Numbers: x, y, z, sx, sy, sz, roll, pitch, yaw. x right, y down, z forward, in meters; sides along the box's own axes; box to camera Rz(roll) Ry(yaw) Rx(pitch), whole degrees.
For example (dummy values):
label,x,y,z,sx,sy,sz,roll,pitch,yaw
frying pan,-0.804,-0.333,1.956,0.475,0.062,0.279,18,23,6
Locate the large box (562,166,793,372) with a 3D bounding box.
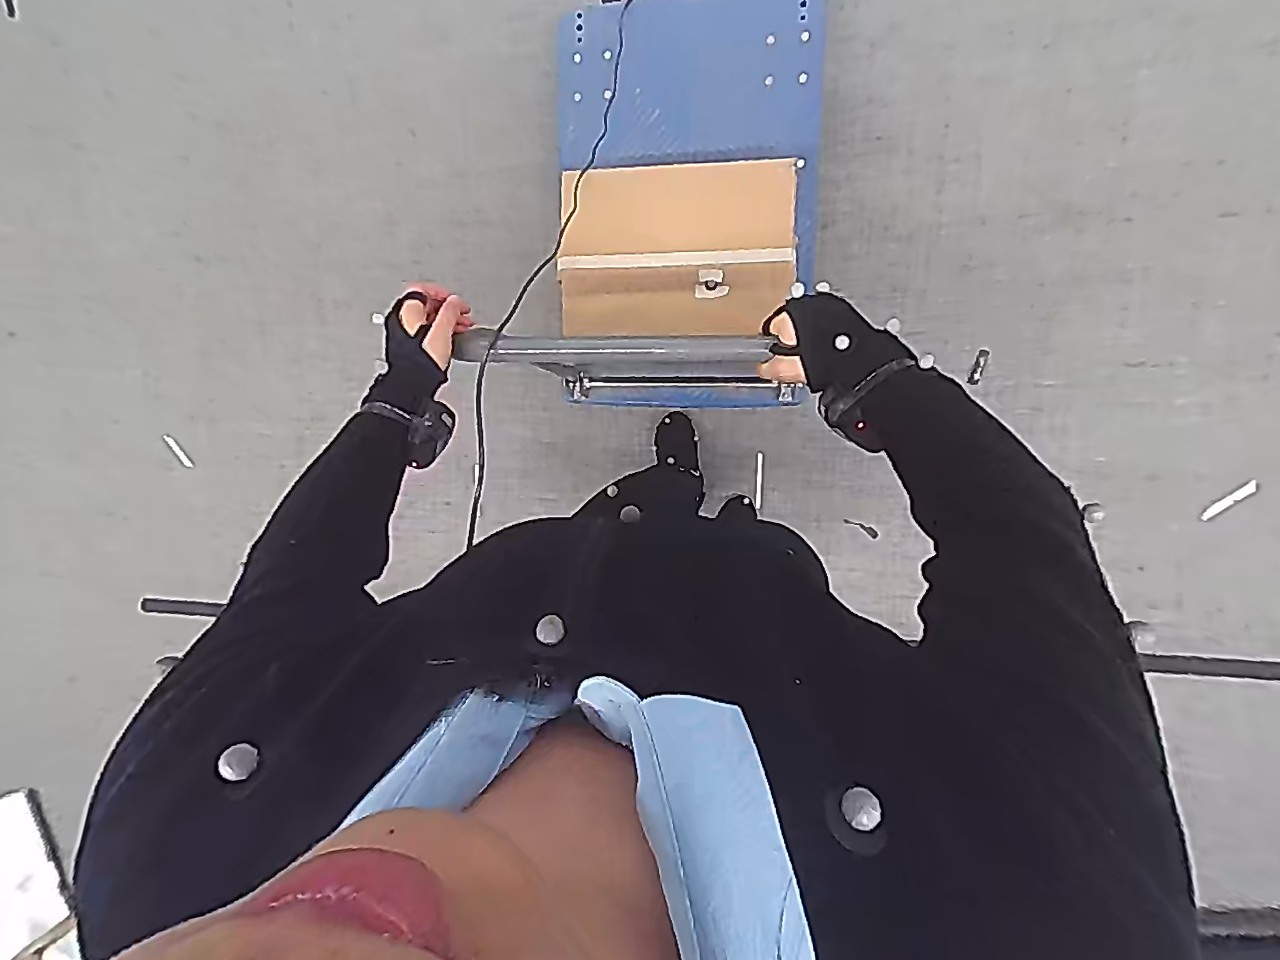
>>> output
label,x,y,z,sx,sy,sz,roll,pitch,yaw
large box,0.077,-0.390,1.088,0.408,0.320,0.320,2,97,8
